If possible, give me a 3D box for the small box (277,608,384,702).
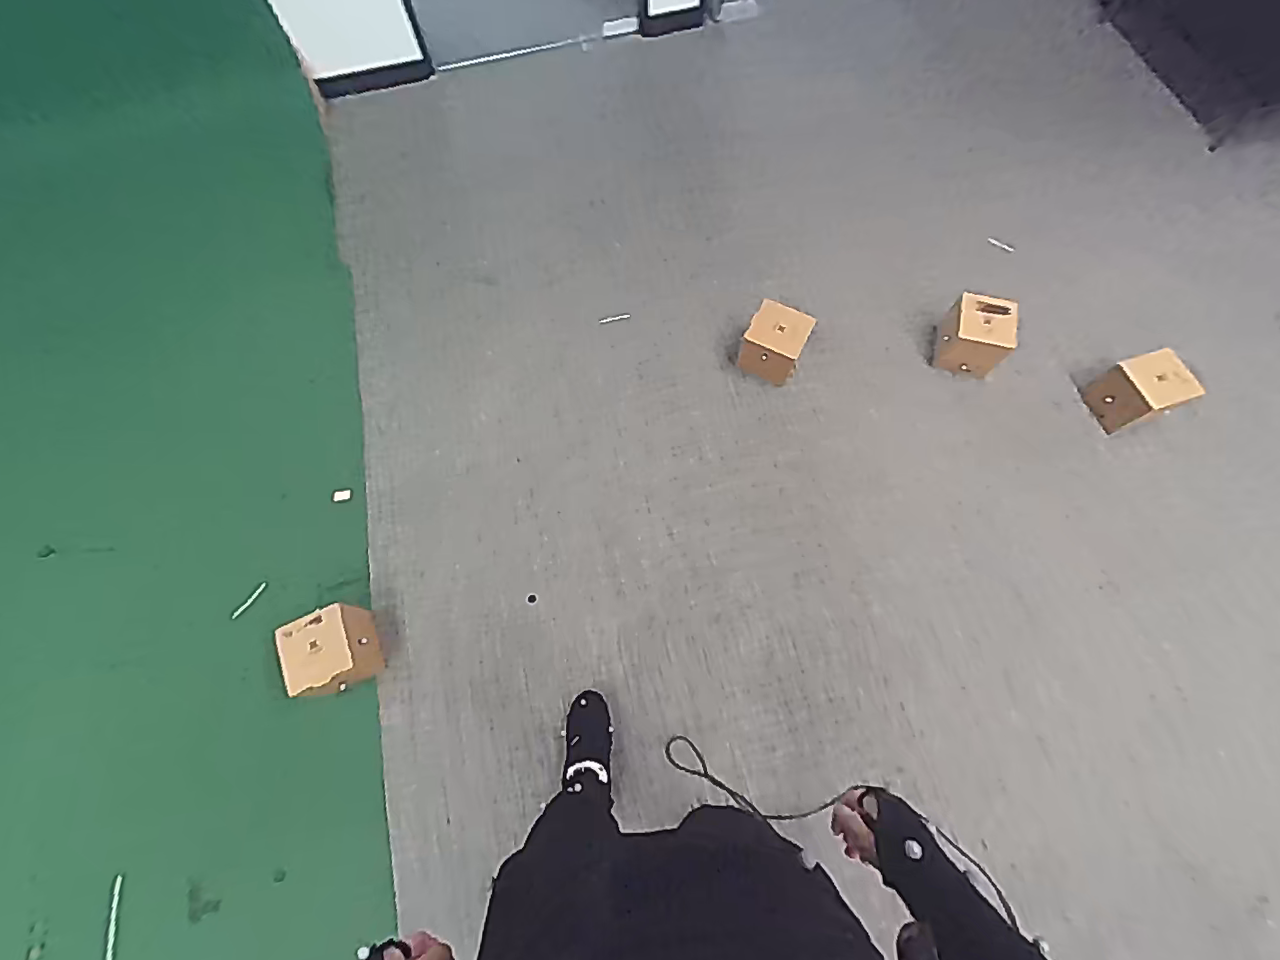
[{"bbox_3d":[-0.795,0.455,1.403,0.168,0.176,0.179,-24,70,-8],"label":"small box"}]

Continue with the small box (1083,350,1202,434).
[{"bbox_3d":[1.491,-0.258,1.626,0.179,0.176,0.168,-17,70,-5],"label":"small box"}]
